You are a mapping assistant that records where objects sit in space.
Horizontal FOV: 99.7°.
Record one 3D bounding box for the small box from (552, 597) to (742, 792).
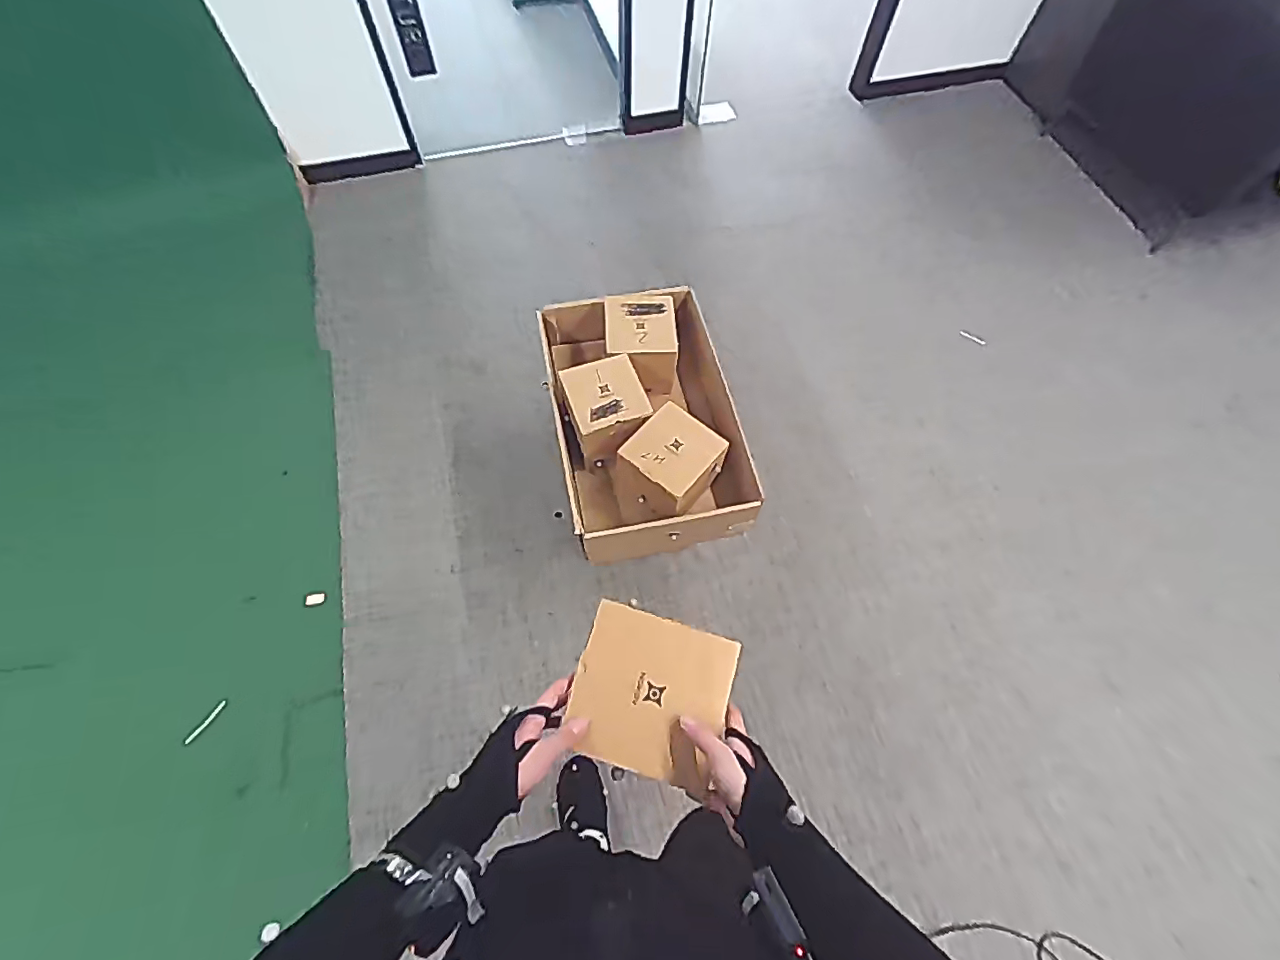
[{"bbox_3d":[0.008,0.257,0.675,0.179,0.176,0.168,17,71,4],"label":"small box"}]
